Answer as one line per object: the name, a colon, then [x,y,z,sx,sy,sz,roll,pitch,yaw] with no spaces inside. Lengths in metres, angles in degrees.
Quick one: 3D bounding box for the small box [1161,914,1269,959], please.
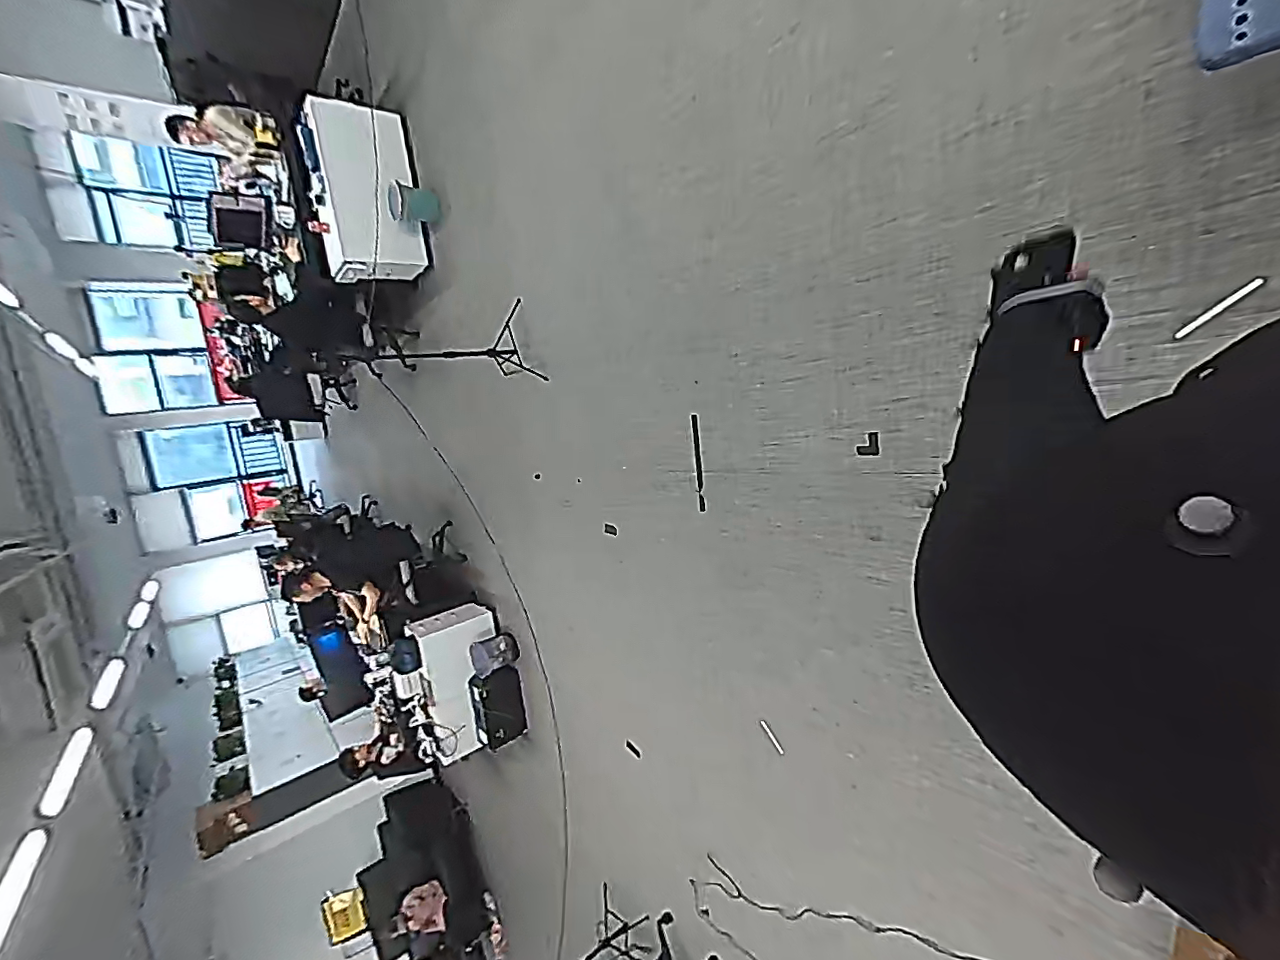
small box: [1.240,1.108,1.161,0.168,0.176,0.179,4,103,50]
